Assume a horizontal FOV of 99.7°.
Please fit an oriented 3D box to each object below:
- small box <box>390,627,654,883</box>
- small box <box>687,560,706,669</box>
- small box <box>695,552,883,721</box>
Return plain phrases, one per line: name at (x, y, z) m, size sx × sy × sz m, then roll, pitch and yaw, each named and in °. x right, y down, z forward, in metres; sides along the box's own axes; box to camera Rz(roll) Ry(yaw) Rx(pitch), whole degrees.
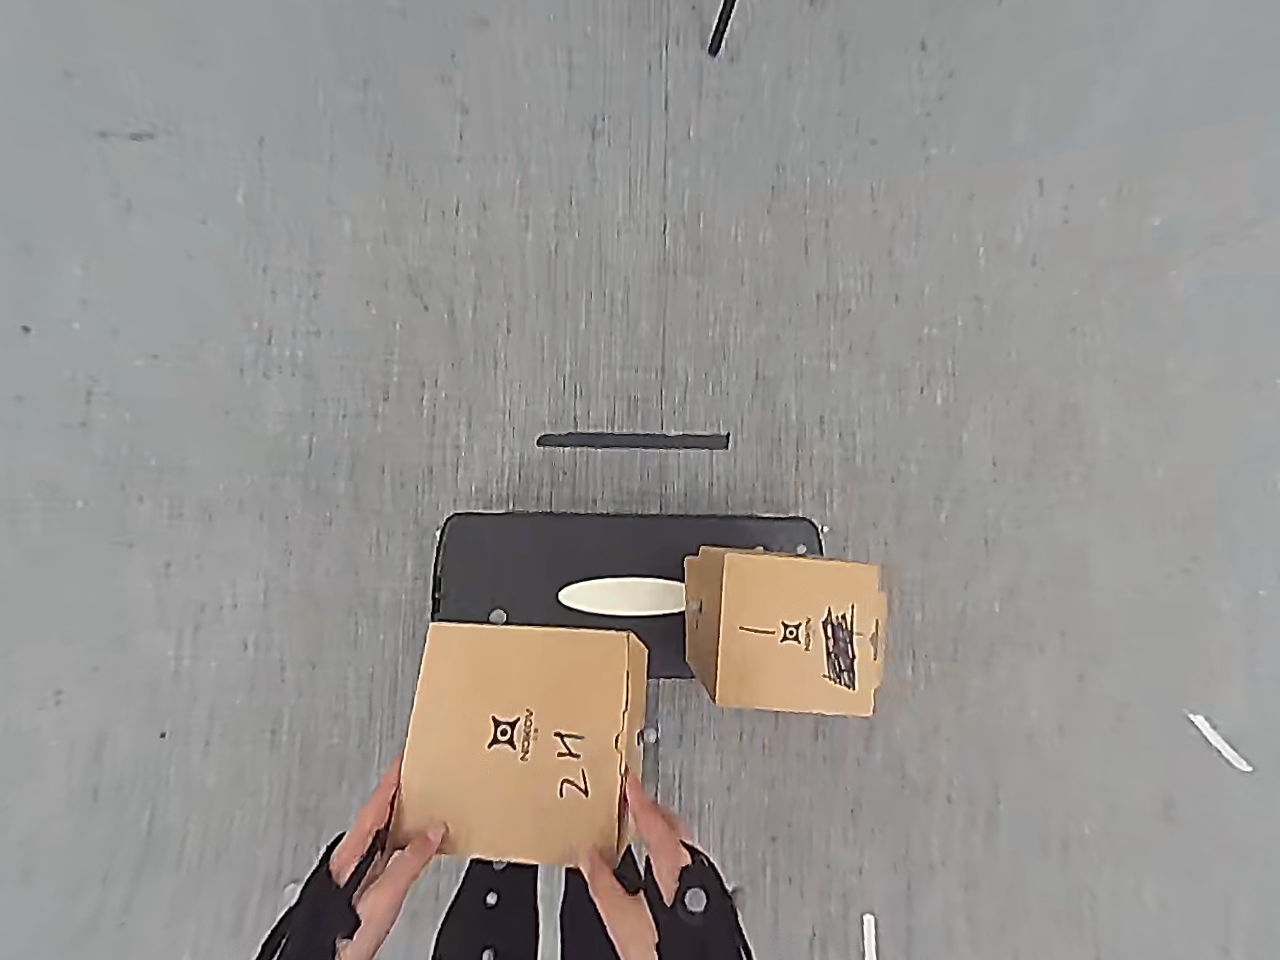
small box at (-0.084, 0.231, 0.486) m, size 0.179 × 0.176 × 0.168 m, roll 2°, pitch 68°, yaw 6°
small box at (0.166, 0.211, 0.826) m, size 0.168 × 0.176 × 0.179 m, roll -1°, pitch 84°, yaw -4°
small box at (0.171, 0.179, 0.664) m, size 0.179 × 0.176 × 0.168 m, roll 5°, pitch 84°, yaw -2°
